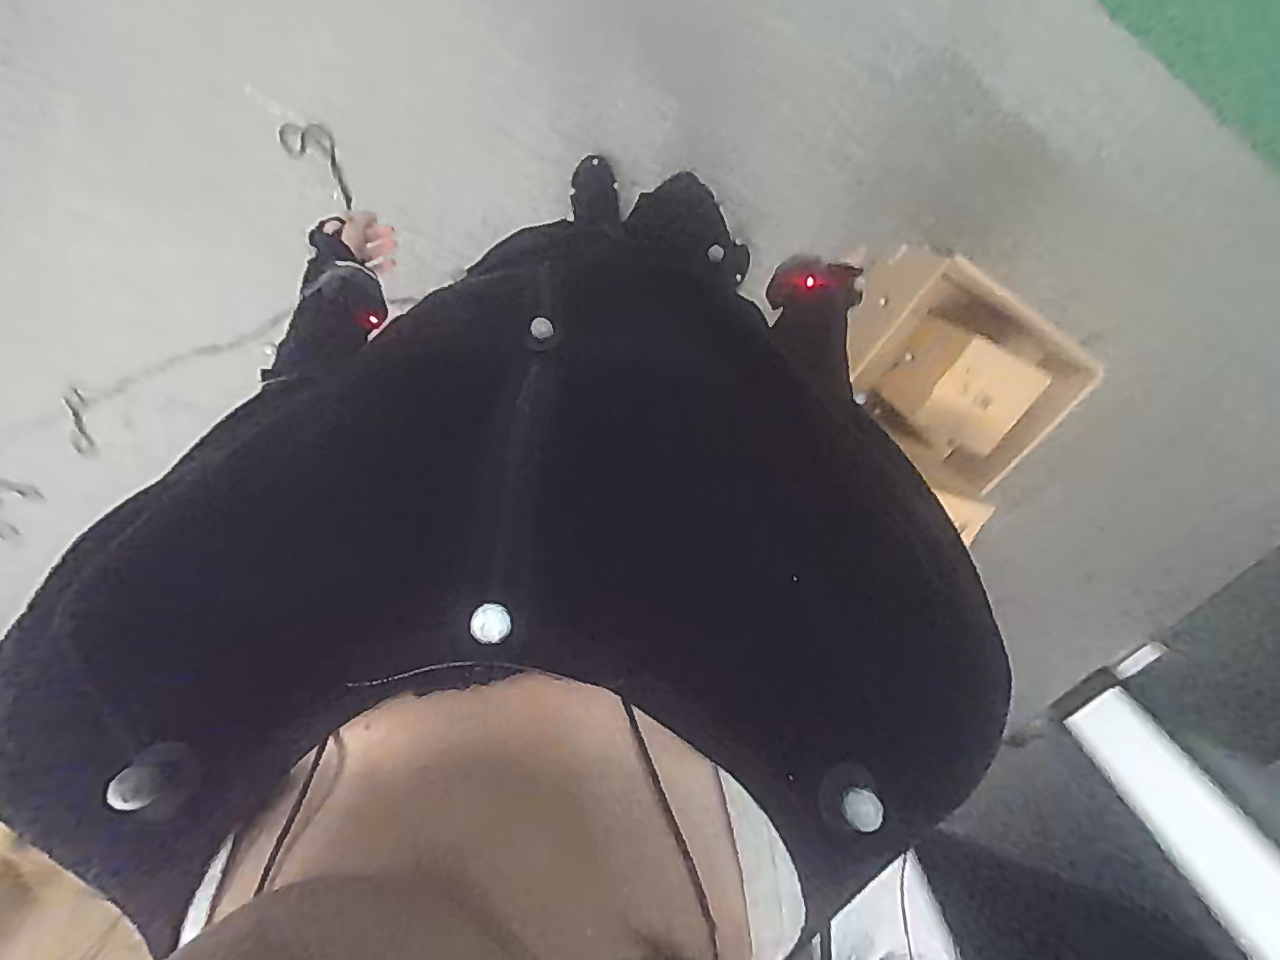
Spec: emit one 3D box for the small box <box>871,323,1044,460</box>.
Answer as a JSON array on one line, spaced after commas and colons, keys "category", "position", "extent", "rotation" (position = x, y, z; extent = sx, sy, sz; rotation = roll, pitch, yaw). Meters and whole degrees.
[{"category": "small box", "position": [0.571, -0.169, 0.995], "extent": [0.179, 0.176, 0.168], "rotation": [23, 116, -15]}]
